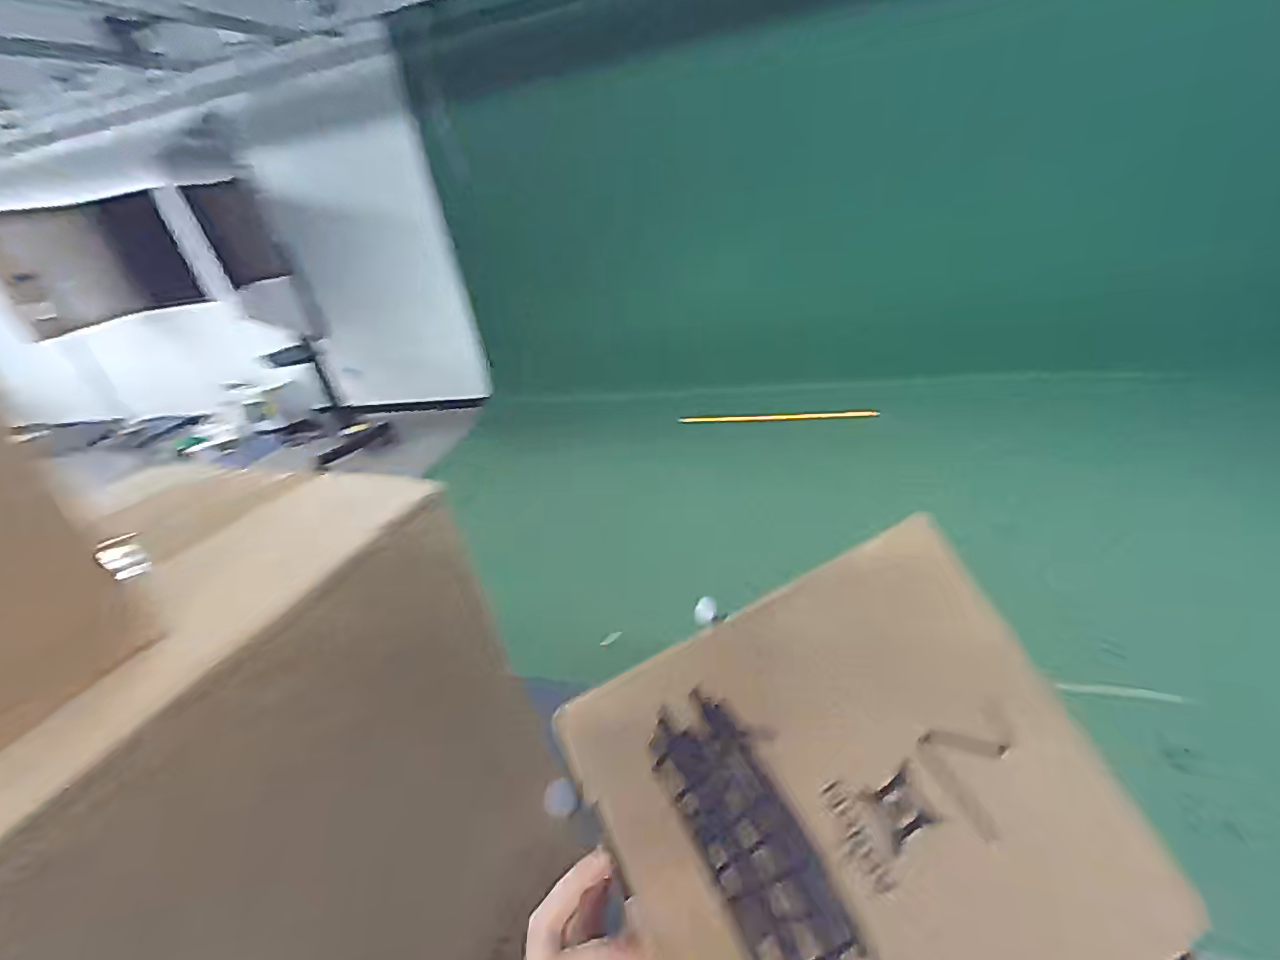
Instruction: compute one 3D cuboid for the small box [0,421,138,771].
[{"bbox_3d":[-0.386,0.065,0.240,0.168,0.176,0.179,6,34,22],"label":"small box"}]
